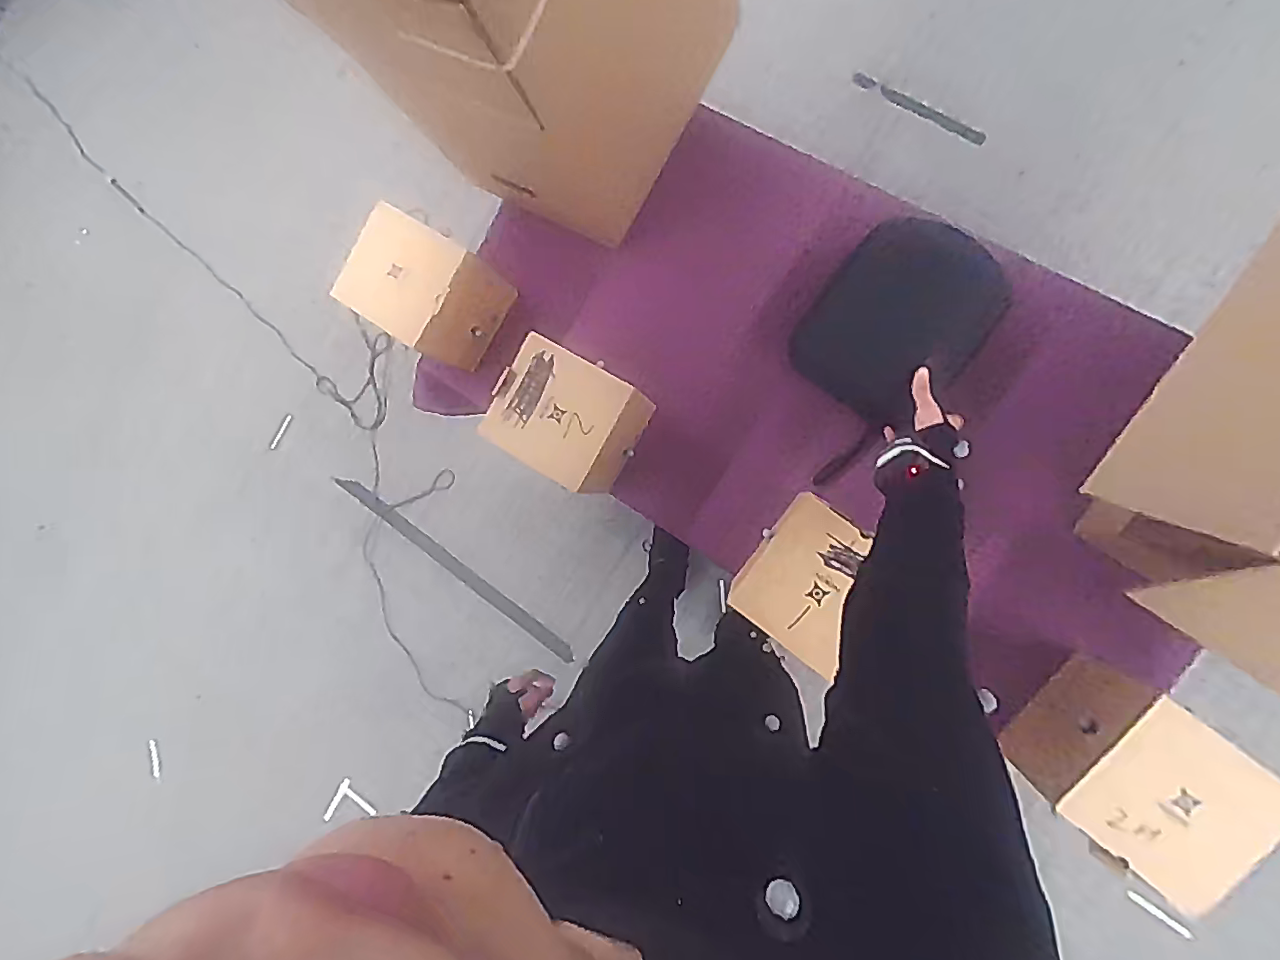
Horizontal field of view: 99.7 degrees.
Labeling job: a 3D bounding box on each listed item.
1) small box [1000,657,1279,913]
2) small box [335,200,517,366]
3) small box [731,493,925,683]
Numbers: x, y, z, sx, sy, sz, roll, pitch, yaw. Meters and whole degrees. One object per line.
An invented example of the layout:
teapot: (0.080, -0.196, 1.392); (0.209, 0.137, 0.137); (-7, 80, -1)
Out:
small box: (0.590, 0.346, 0.656); (0.168, 0.176, 0.179); (40, 97, 11)
small box: (-0.335, -0.304, 0.876); (0.179, 0.176, 0.168); (32, 96, 10)
small box: (0.242, 0.132, 0.740); (0.168, 0.176, 0.179); (37, 97, 11)
